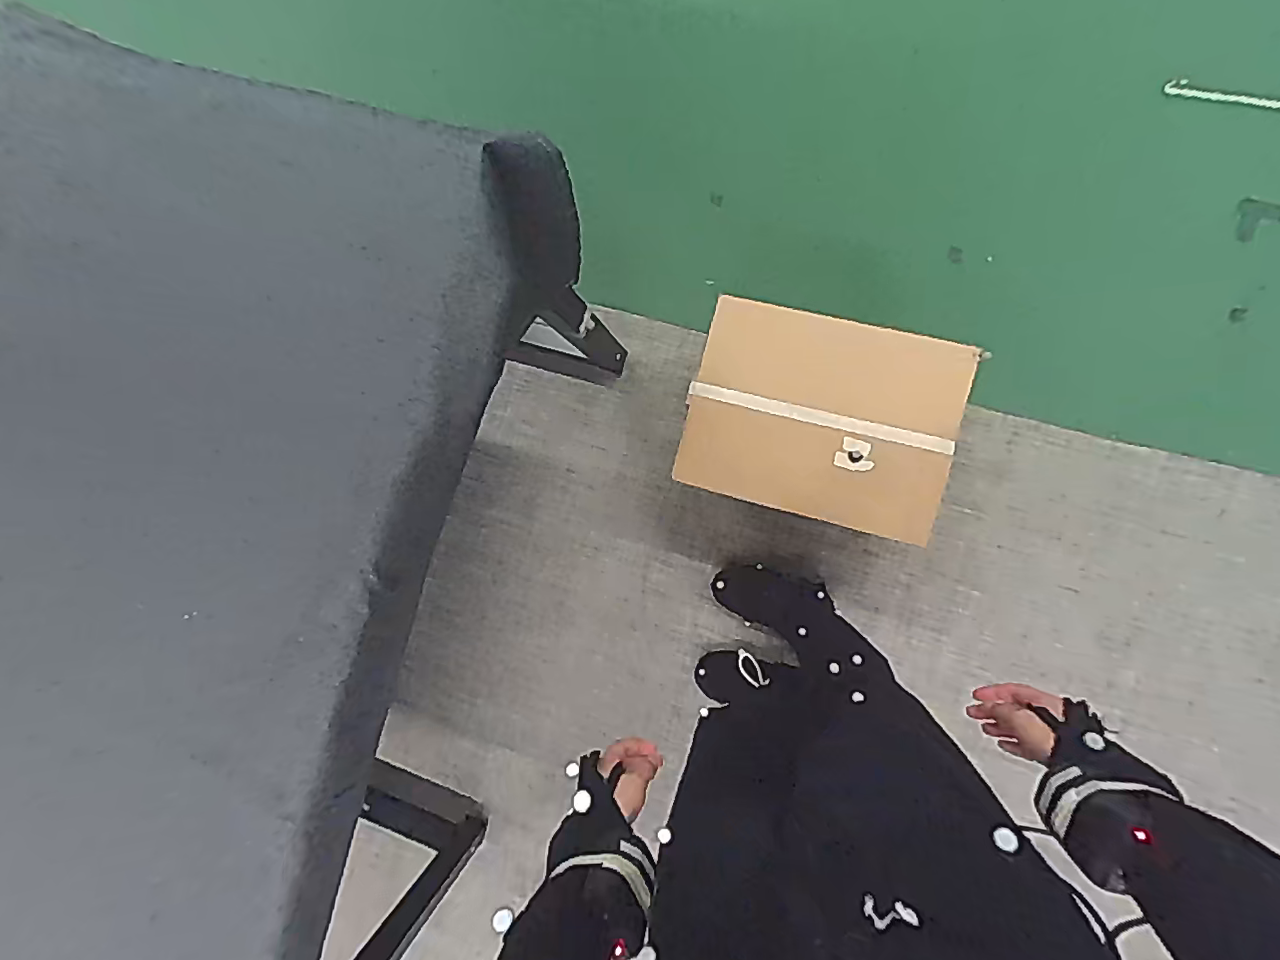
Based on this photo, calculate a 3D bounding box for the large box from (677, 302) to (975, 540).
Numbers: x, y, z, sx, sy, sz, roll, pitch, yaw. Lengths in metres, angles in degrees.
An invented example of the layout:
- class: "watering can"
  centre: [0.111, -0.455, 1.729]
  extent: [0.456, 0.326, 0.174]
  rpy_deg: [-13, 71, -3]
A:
- class: "large box"
  centre: [0.306, -0.096, 0.999]
  extent: [0.408, 0.320, 0.320]
  rpy_deg: [15, 92, 9]
